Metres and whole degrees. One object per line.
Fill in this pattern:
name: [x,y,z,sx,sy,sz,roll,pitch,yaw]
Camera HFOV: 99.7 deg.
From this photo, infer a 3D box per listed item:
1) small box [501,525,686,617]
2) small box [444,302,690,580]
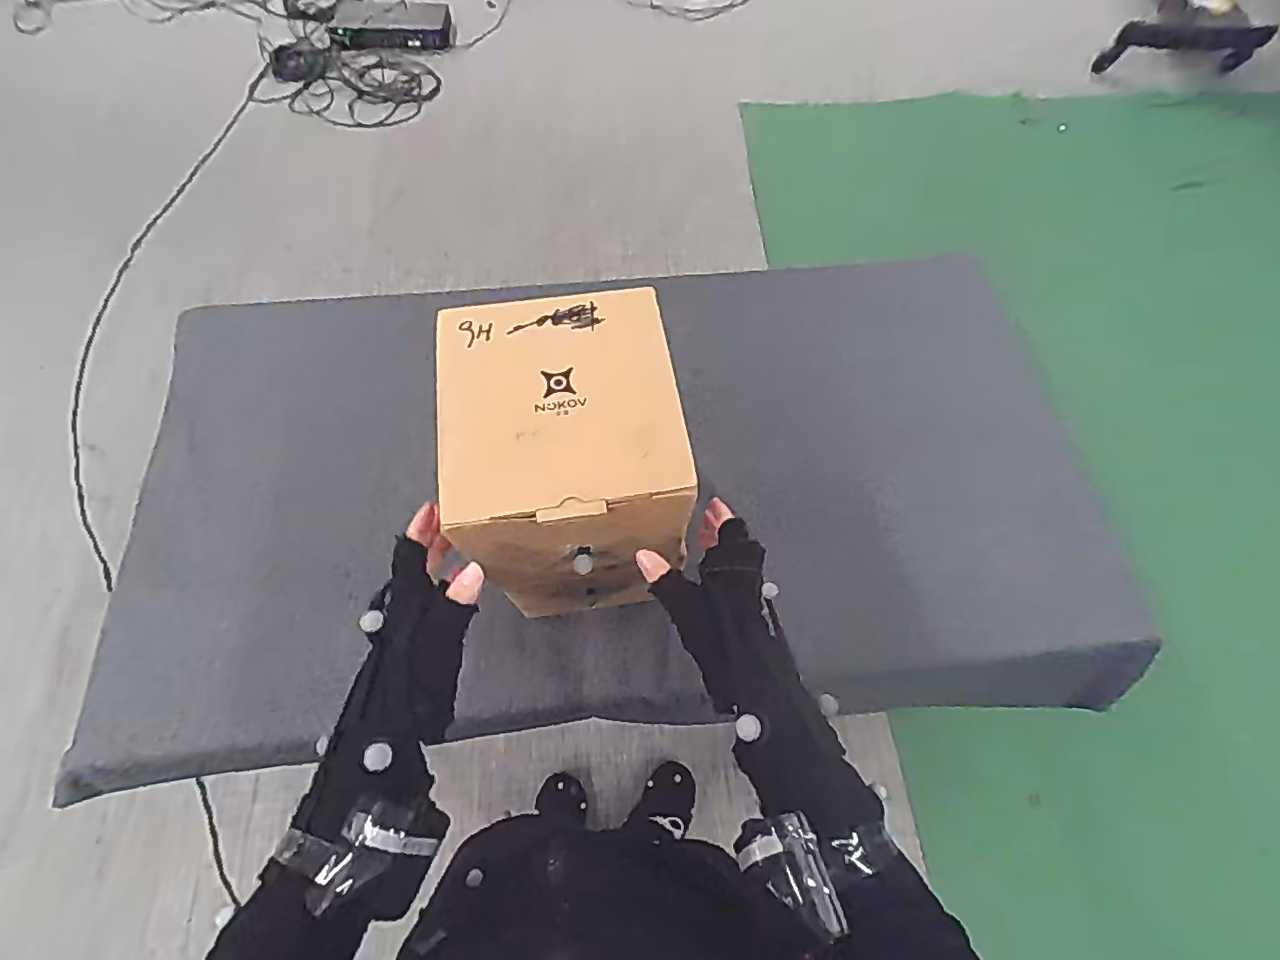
small box: [-0.056,0.049,0.609,0.179,0.176,0.168,-8,65,-4]
small box: [-0.058,-0.020,0.462,0.168,0.176,0.179,-8,66,-5]
